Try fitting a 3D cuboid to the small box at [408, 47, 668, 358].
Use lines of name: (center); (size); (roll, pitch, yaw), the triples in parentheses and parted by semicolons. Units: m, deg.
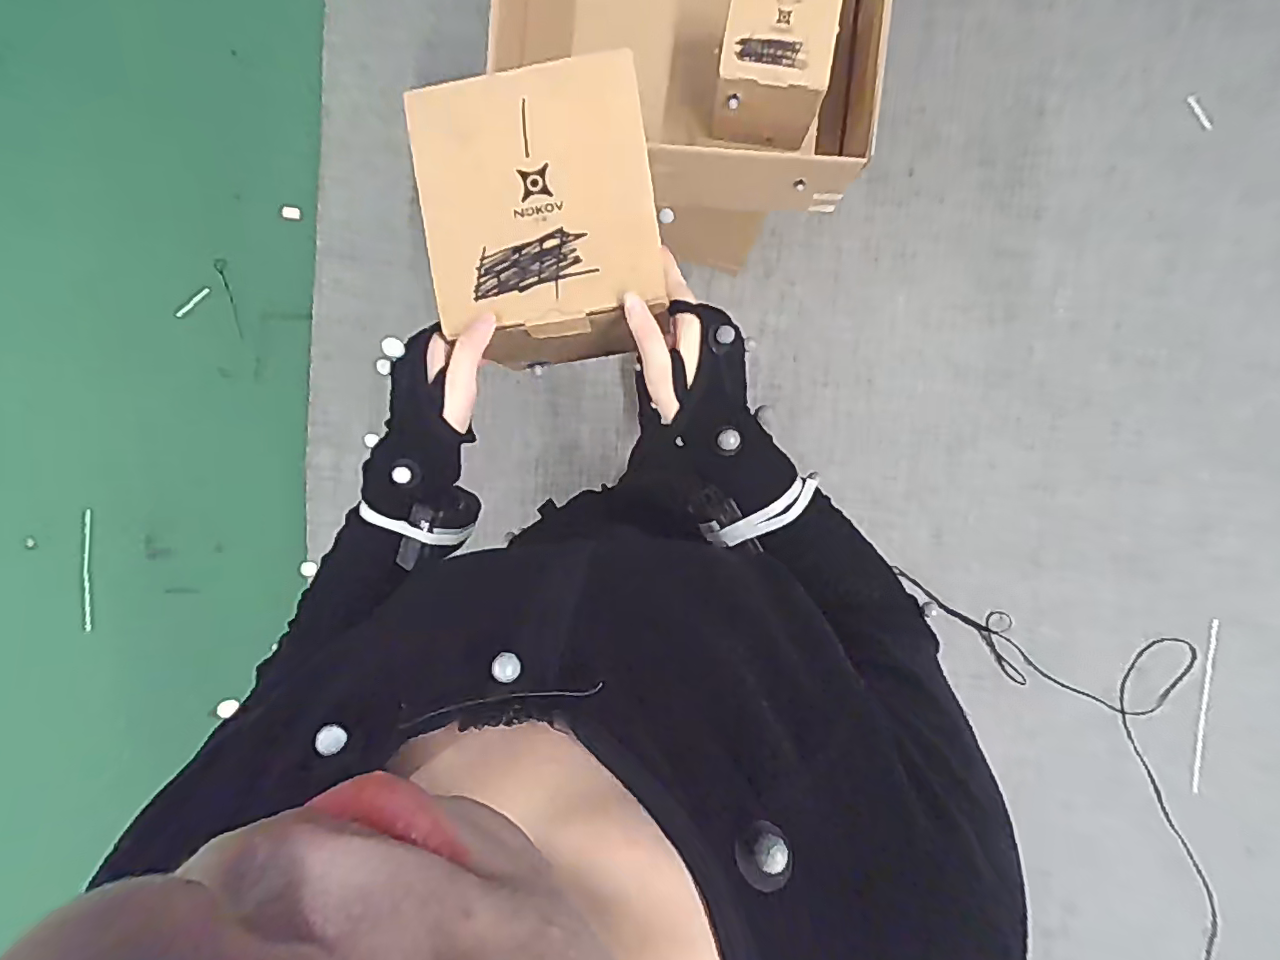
small box: (-0.069, -0.207, 0.462); (0.168, 0.176, 0.179); (-7, 92, 5)
